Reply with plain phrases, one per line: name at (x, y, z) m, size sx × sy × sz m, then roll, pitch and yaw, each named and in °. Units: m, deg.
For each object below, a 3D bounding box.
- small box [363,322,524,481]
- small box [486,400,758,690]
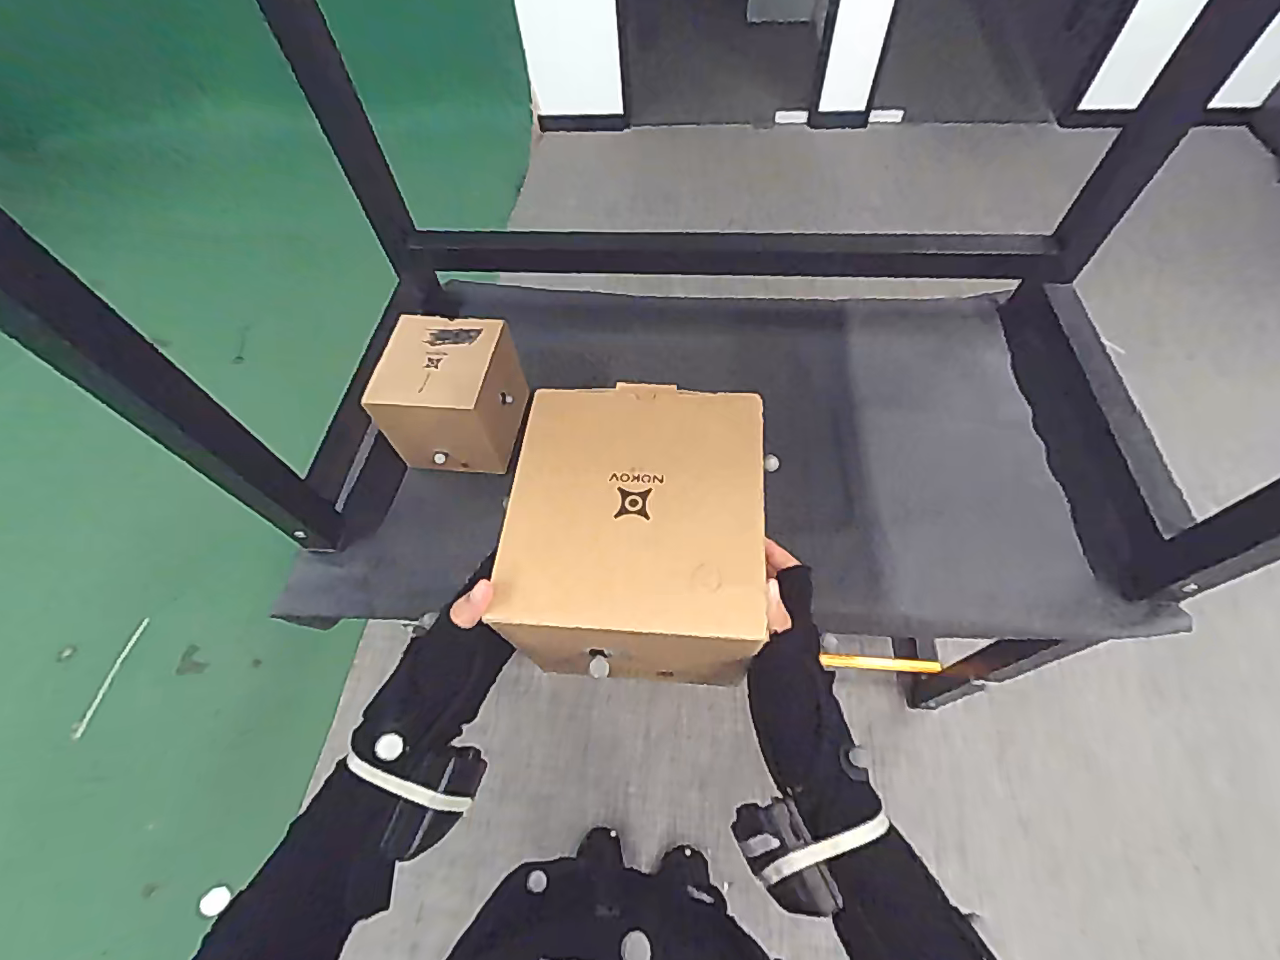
small box at (-0.290, -0.121, 0.847) m, size 0.168 × 0.176 × 0.179 m, roll 4°, pitch 59°, yaw 6°
small box at (0.000, 0.058, 0.423) m, size 0.168 × 0.176 × 0.179 m, roll 2°, pitch 59°, yaw 5°
